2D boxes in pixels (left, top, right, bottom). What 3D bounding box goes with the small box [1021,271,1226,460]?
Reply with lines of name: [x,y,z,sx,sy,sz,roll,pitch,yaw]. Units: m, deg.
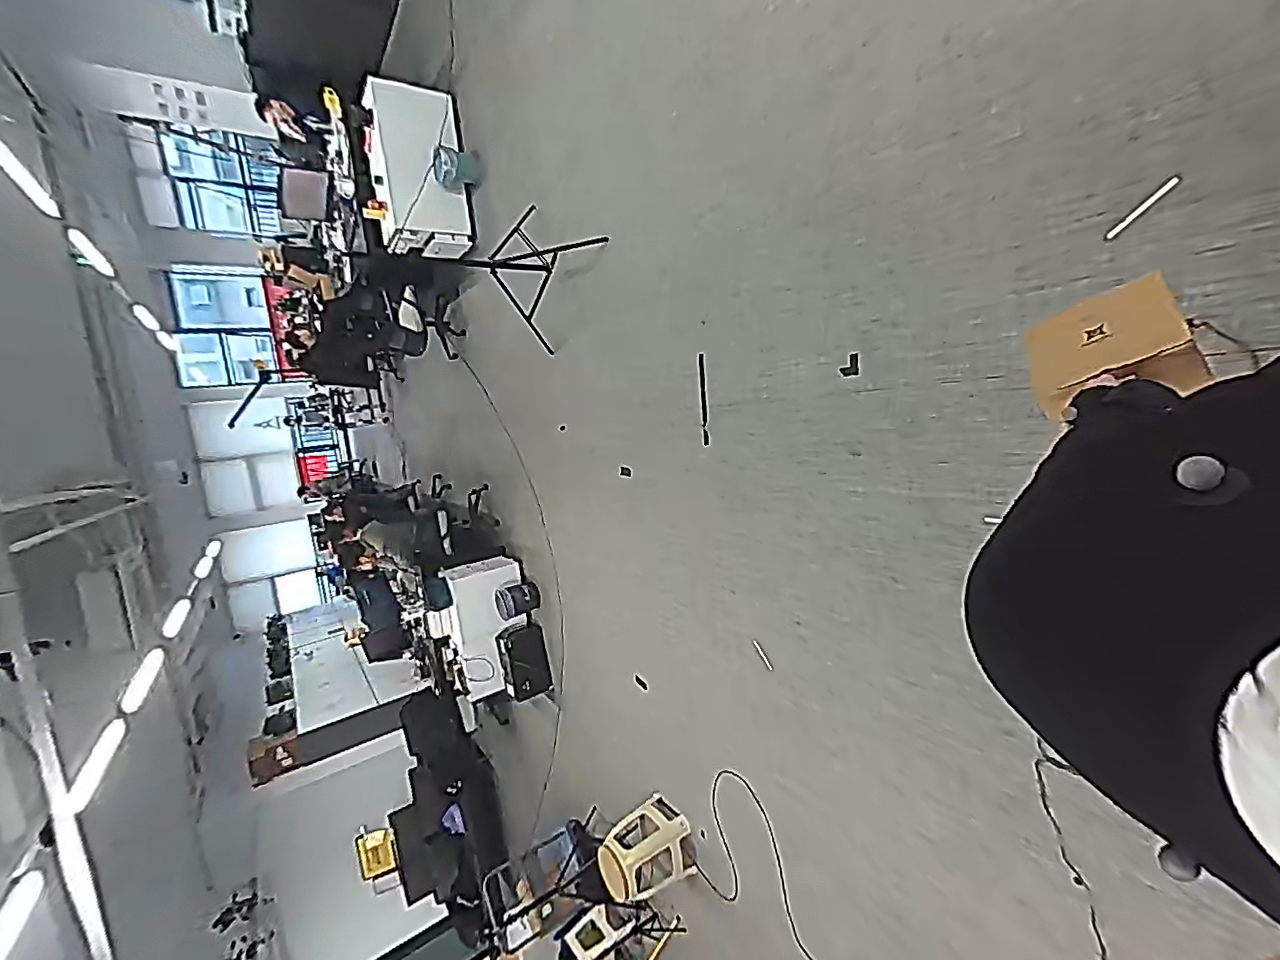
small box: [0.678,-0.149,0.770,0.176,0.179,0.168,41,140,-22]
